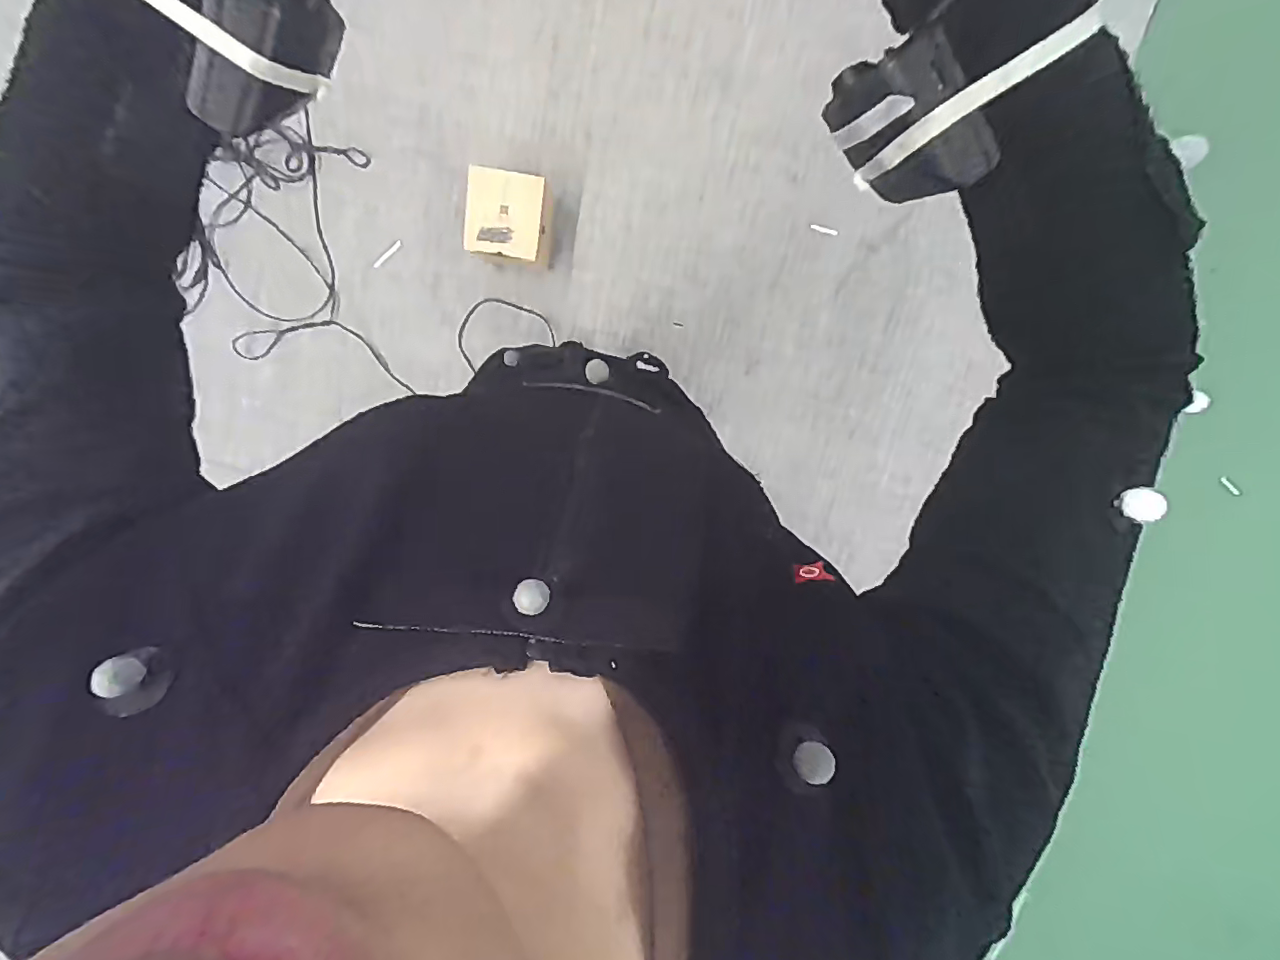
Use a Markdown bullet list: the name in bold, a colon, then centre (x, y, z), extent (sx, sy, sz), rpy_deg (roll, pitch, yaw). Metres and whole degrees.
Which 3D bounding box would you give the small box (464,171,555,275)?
- **small box**: centre (-0.298, -0.588, 1.262), extent (0.168, 0.176, 0.179), rpy_deg (9, 102, -3)
